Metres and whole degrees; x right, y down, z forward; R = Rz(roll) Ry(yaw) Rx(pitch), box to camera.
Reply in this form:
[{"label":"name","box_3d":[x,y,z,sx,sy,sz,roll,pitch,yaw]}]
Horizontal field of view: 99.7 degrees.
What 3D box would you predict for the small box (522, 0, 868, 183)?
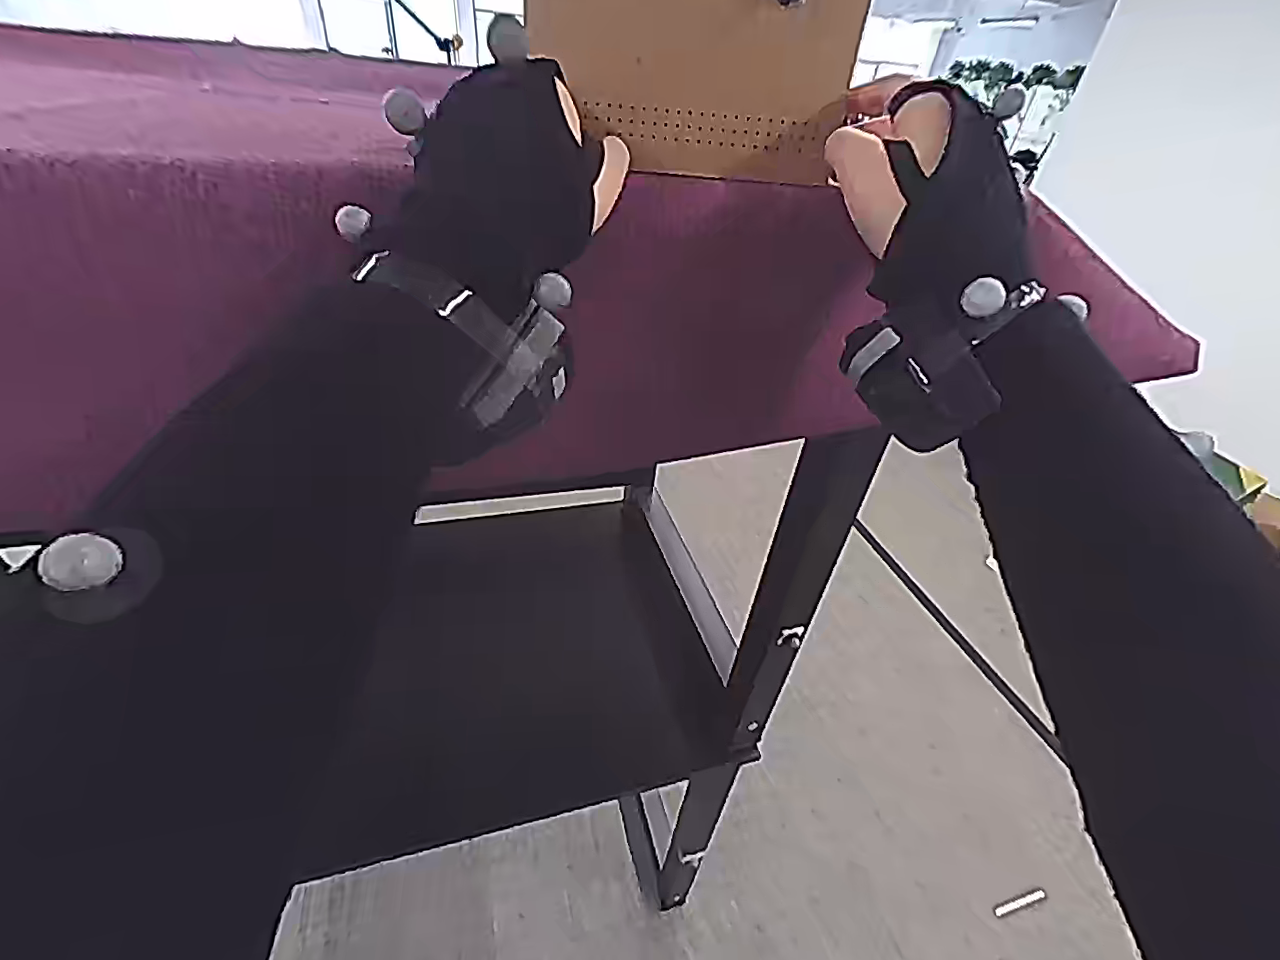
[{"label":"small box","box_3d":[0.031,-0.285,0.323,0.179,0.176,0.168,4,36,-1]}]
